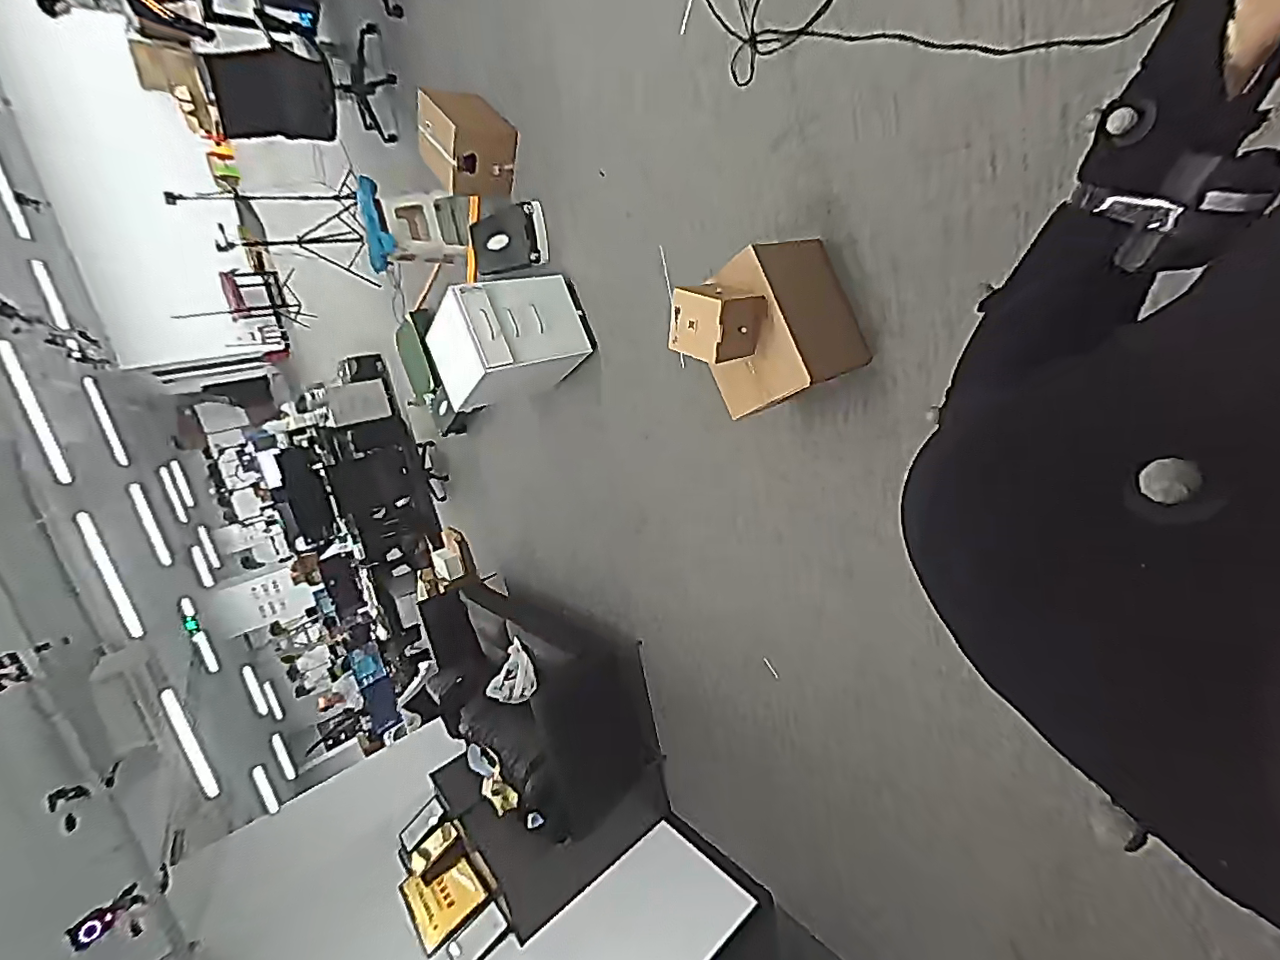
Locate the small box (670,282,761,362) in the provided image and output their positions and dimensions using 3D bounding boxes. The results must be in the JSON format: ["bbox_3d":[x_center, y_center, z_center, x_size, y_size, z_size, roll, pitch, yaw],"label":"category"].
[{"bbox_3d":[0.206,-0.436,1.471,0.179,0.176,0.168,31,130,38],"label":"small box"}]
